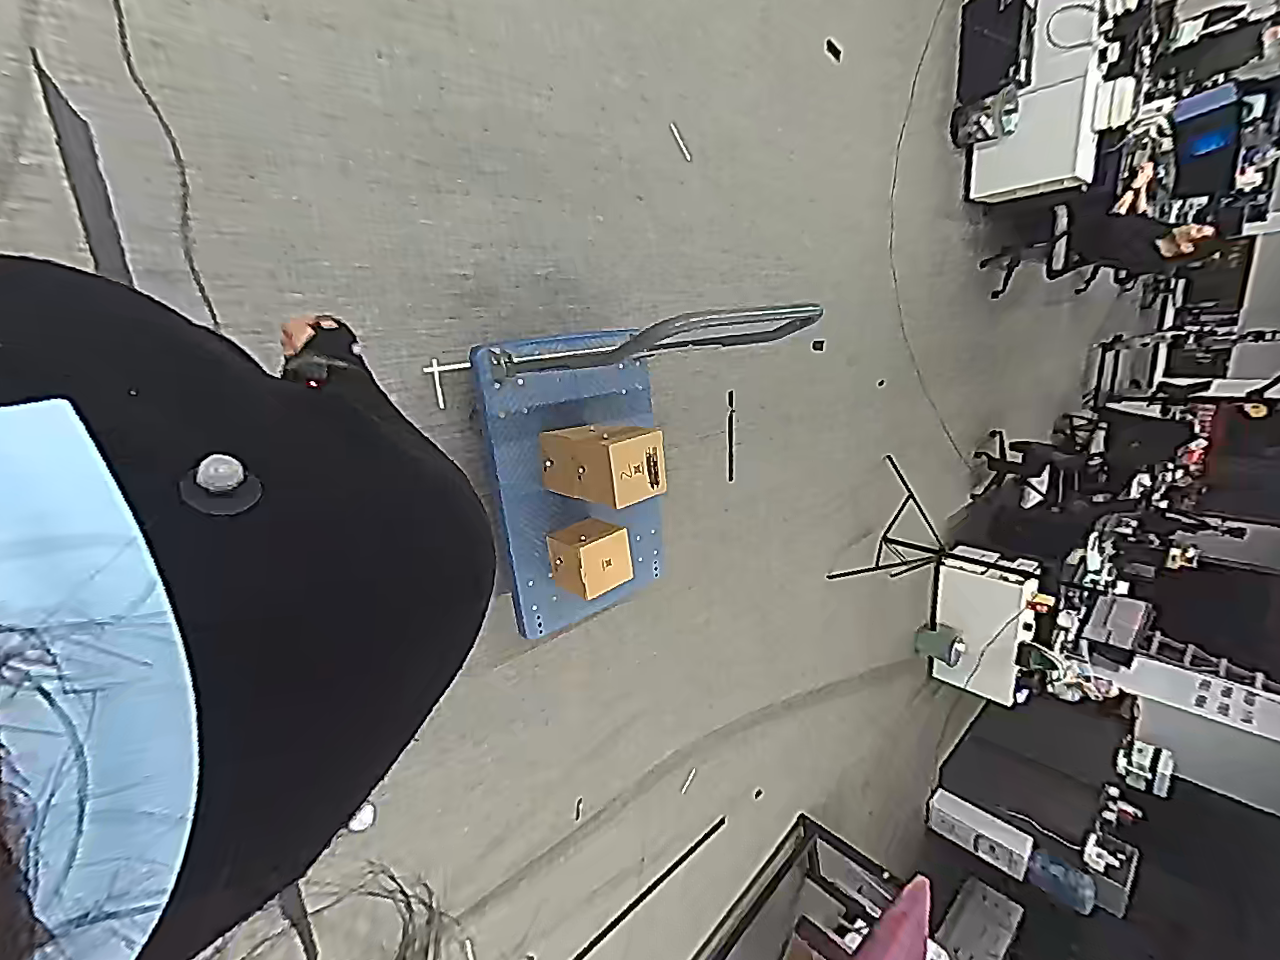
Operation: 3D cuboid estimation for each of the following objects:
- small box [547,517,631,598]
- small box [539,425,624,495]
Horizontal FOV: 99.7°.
[{"bbox_3d":[-0.152,0.222,1.608,0.179,0.176,0.168,-21,112,-37],"label":"small box"},{"bbox_3d":[-0.166,-0.063,1.535,0.179,0.176,0.168,-14,106,-39],"label":"small box"}]
